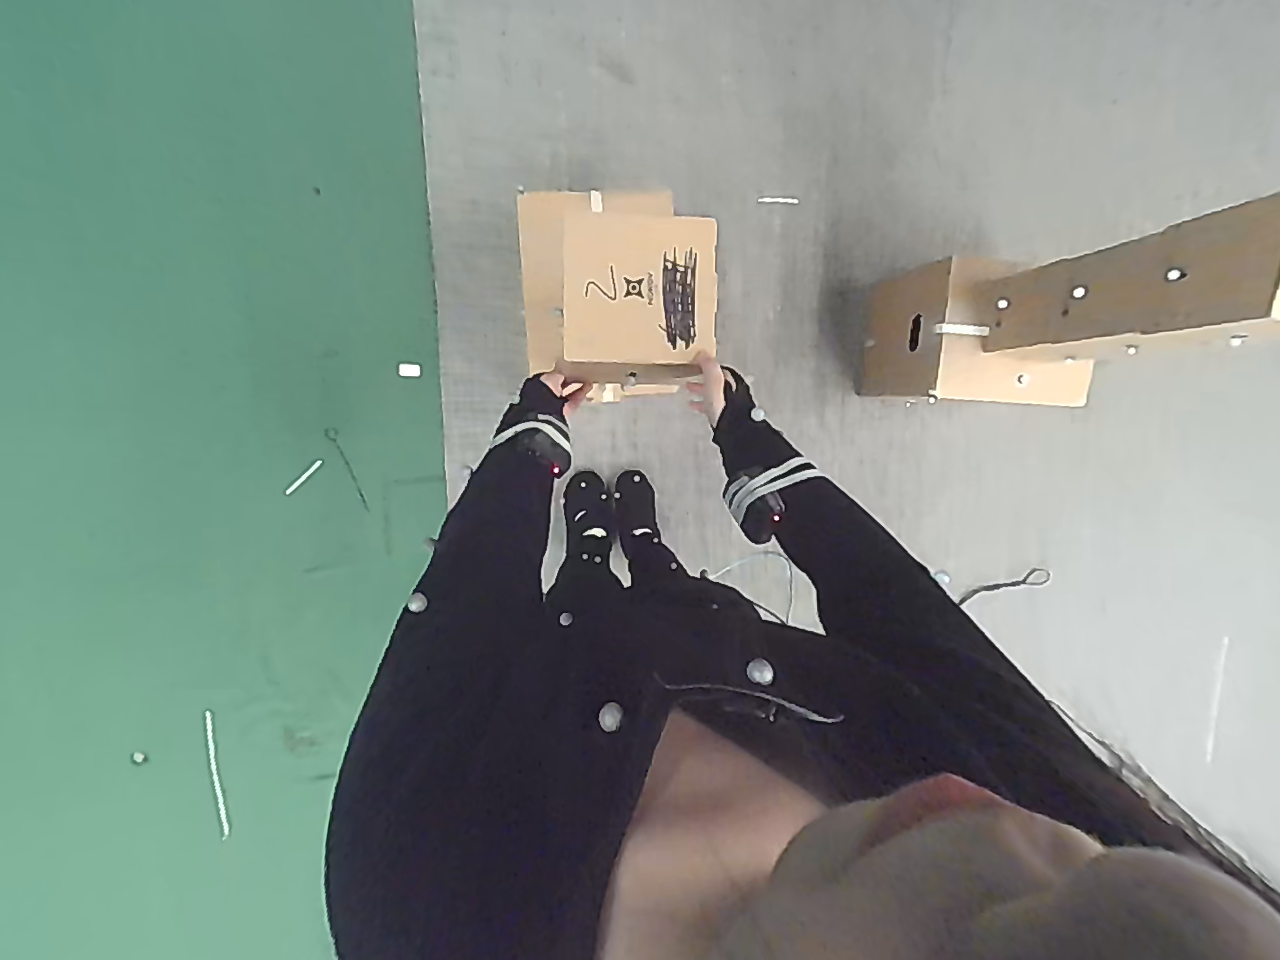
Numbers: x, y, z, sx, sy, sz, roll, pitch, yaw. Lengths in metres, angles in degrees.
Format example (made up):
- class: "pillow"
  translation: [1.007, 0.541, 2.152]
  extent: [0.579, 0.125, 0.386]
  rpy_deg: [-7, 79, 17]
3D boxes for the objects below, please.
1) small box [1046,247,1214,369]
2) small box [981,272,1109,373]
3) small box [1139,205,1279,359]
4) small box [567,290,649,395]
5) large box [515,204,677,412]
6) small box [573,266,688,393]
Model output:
- class: "small box"
  translation: [0.901, -0.301, 0.986]
  extent: [0.179, 0.176, 0.168]
  rpy_deg: [8, 94, -8]
- class: "small box"
  translation: [0.875, -0.323, 1.147]
  extent: [0.179, 0.176, 0.168]
  rpy_deg: [6, 95, -9]
- class: "small box"
  translation: [0.922, -0.287, 0.824]
  extent: [0.168, 0.176, 0.179]
  rpy_deg: [7, 95, -9]
- class: "small box"
  translation: [-0.053, -0.251, 1.024]
  extent: [0.168, 0.176, 0.179]
  rpy_deg: [-2, 97, -8]
- class: "large box"
  translation: [-0.101, -0.369, 1.250]
  extent: [0.320, 0.320, 0.408]
  rpy_deg: [-4, 97, -8]
- class: "small box"
  translation: [-0.022, -0.228, 0.864]
  extent: [0.168, 0.176, 0.179]
  rpy_deg: [-2, 97, -8]
